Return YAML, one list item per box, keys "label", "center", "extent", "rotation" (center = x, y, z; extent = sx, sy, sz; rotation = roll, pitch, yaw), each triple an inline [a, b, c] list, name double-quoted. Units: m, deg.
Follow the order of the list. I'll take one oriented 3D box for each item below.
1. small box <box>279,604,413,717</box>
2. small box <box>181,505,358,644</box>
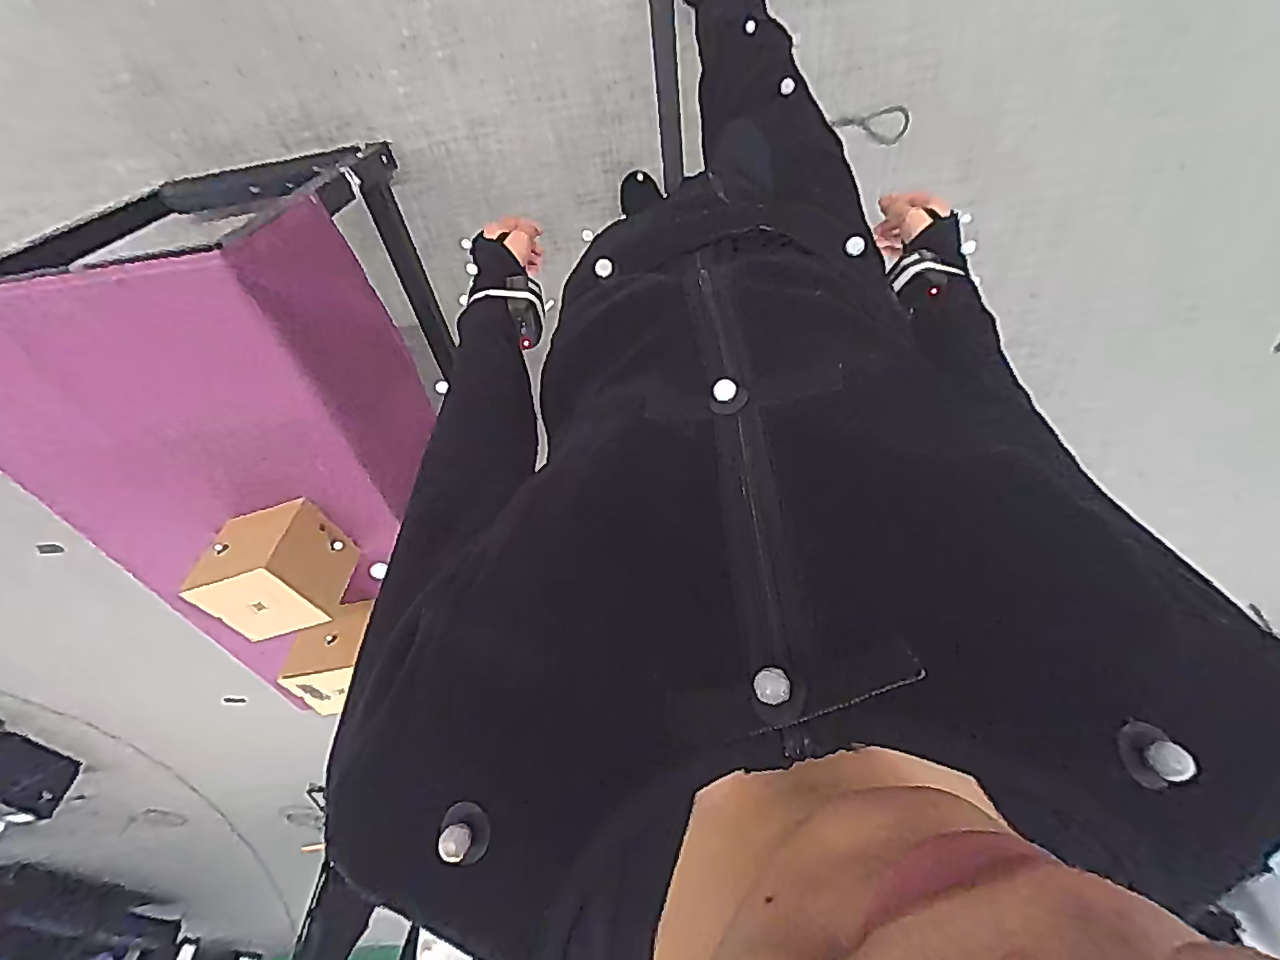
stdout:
- label: "small box"
  center: [-0.640, 0.399, 1.201]
  extent: [0.179, 0.176, 0.168]
  rotation: [-11, 132, 6]
- label: "small box"
  center: [-0.665, 0.173, 0.996]
  extent: [0.179, 0.176, 0.168]
  rotation: [-15, 132, 11]
